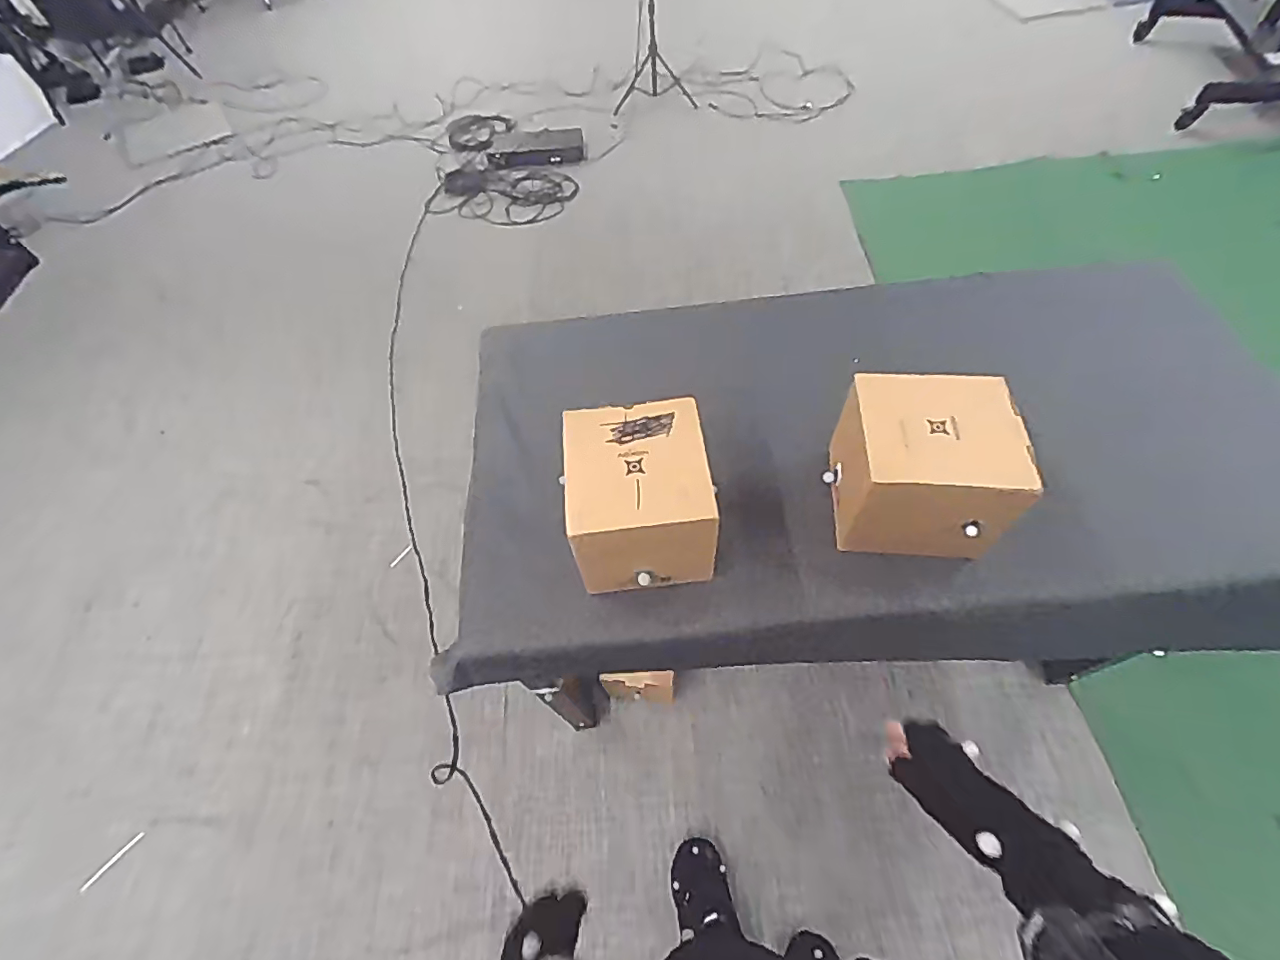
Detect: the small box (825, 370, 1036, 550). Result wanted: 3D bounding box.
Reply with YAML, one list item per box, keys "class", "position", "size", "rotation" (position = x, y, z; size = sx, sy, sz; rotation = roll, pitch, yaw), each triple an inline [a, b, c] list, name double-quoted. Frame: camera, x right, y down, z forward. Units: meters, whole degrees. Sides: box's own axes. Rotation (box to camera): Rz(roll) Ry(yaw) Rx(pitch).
- class: "small box"
  position: [0.349, -0.021, 0.690]
  size: [0.179, 0.176, 0.168]
  rotation: [2, 56, 7]

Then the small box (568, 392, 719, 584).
- class: "small box"
  position: [0.001, 0.014, 0.689]
  size: [0.168, 0.176, 0.179]
  rotation: [-7, 57, 0]
